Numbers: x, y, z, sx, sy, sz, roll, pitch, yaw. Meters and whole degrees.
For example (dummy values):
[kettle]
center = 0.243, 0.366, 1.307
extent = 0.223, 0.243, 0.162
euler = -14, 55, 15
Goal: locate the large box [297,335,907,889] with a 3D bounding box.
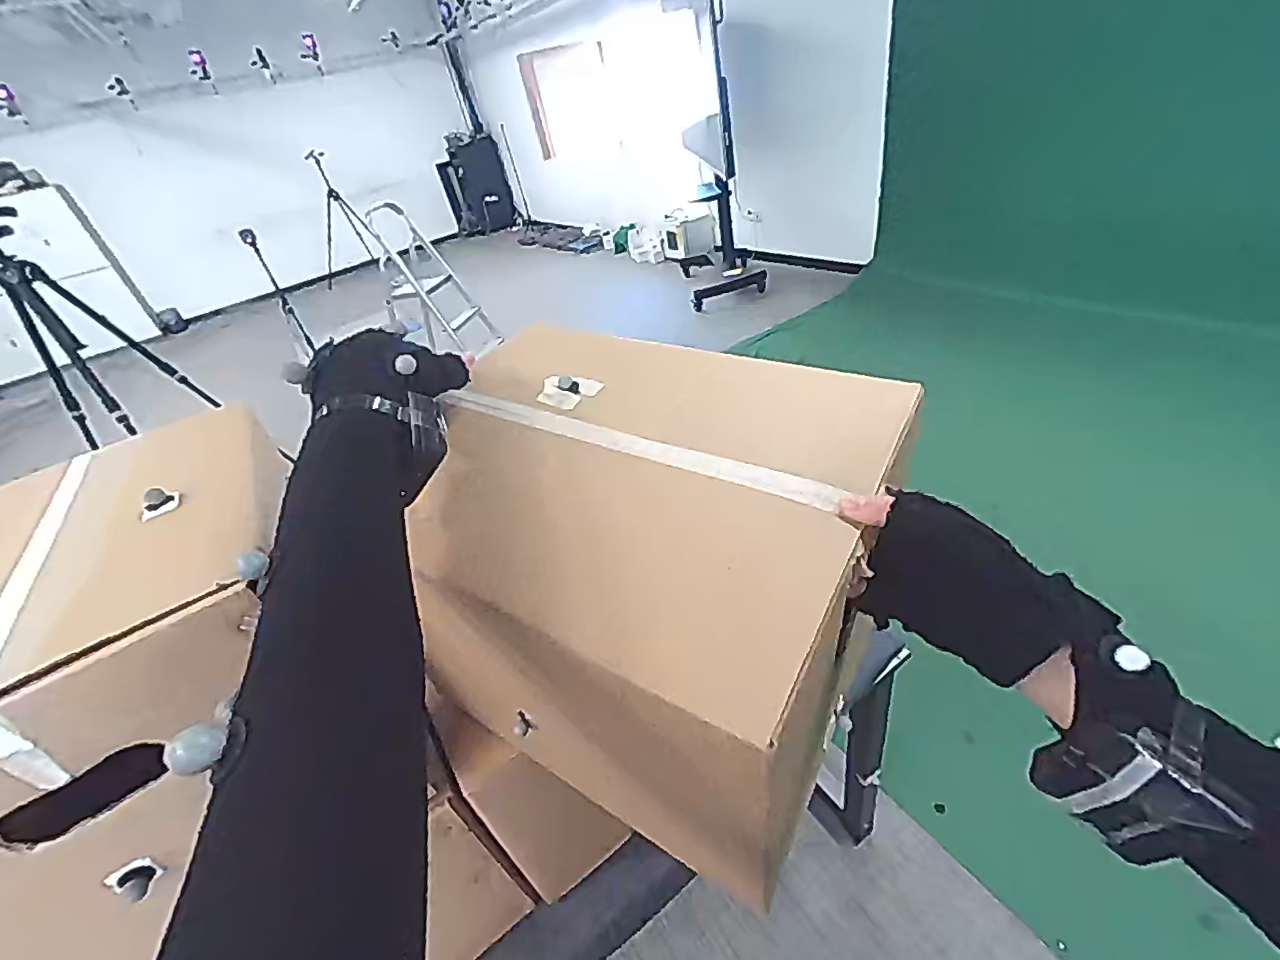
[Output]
[large box]
center = -0.007, 0.088, 0.523
extent = 0.408, 0.320, 0.320
euler = 16, 47, 29
